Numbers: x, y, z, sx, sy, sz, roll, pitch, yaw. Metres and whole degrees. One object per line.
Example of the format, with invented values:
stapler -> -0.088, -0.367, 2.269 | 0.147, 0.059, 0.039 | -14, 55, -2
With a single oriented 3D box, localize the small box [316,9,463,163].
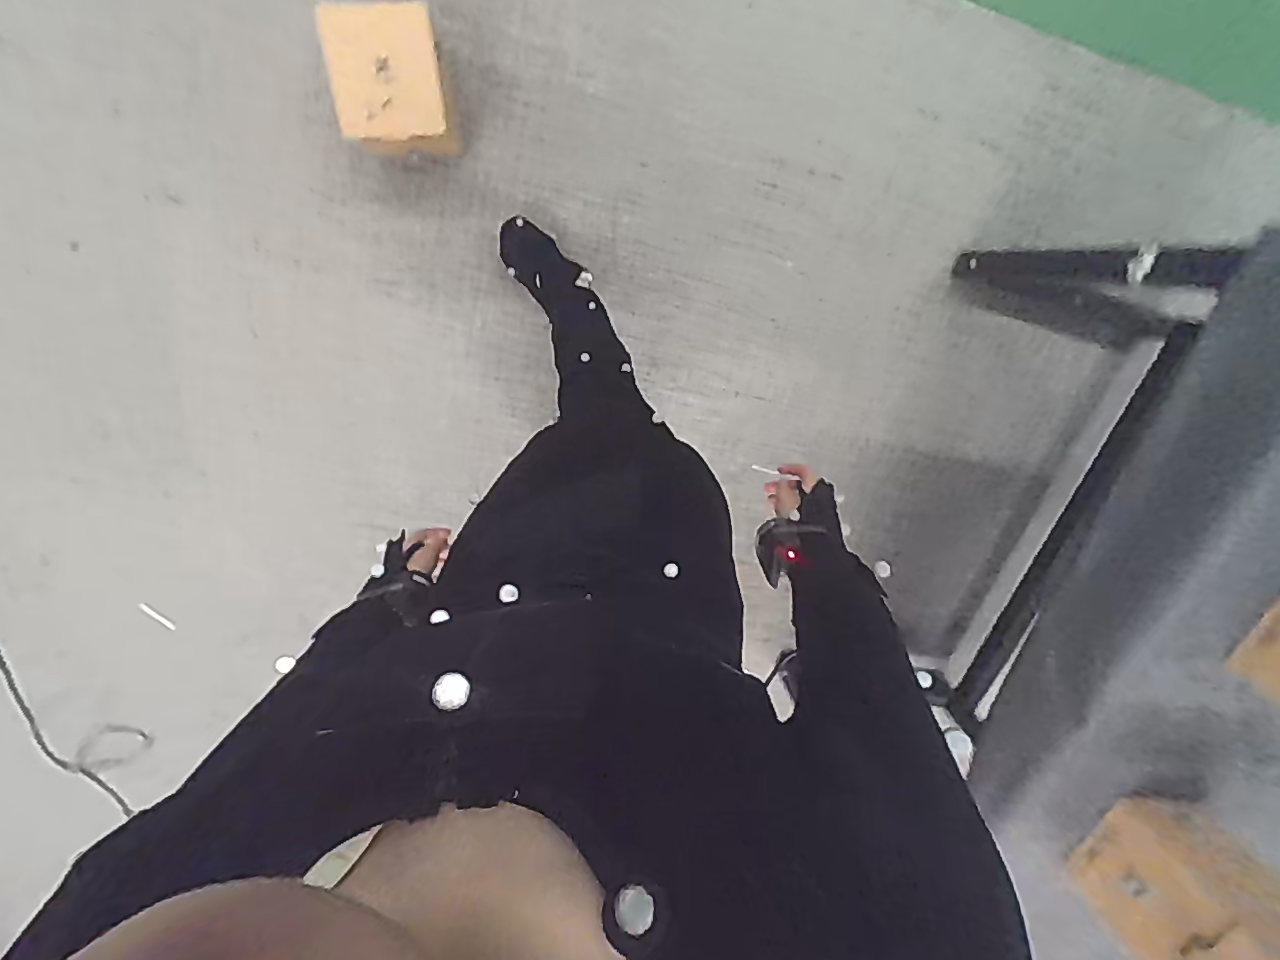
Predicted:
small box -> -0.412, -0.658, 0.921 | 0.168, 0.176, 0.179 | -5, 112, -4

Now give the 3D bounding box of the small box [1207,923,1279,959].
small box -> 0.792, 0.648, 0.619 | 0.179, 0.176, 0.168 | 11, 110, -12

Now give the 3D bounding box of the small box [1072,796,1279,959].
small box -> 0.781, 0.584, 0.768 | 0.179, 0.176, 0.168 | 13, 110, -11
